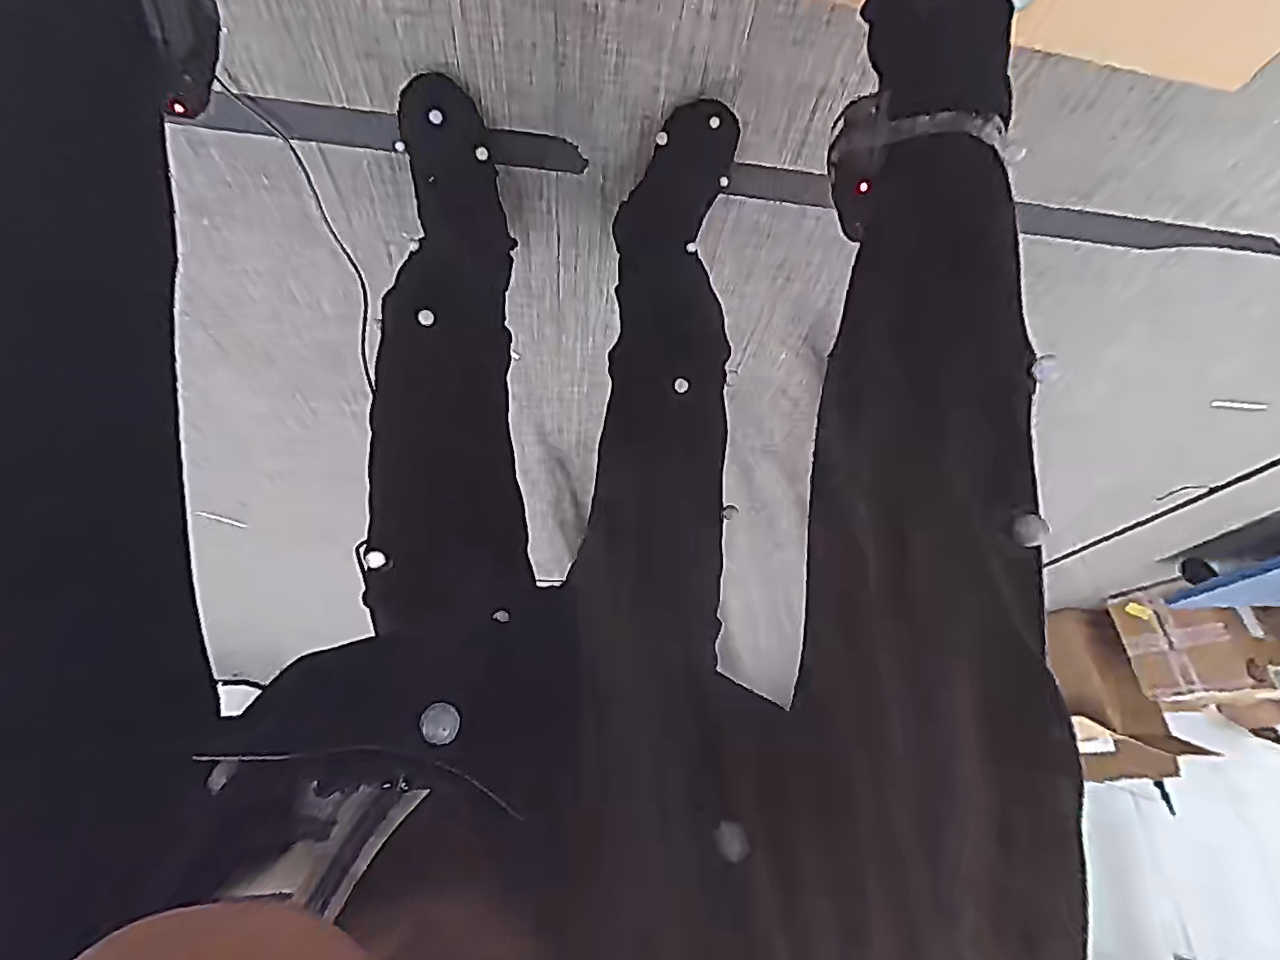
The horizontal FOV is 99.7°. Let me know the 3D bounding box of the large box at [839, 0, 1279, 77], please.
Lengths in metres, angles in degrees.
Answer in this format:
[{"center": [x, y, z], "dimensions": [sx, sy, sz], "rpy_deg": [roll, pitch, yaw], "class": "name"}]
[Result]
[{"center": [0.297, -0.537, 0.346], "dimensions": [0.408, 0.320, 0.320], "rpy_deg": [3, 151, -10], "class": "large box"}]
